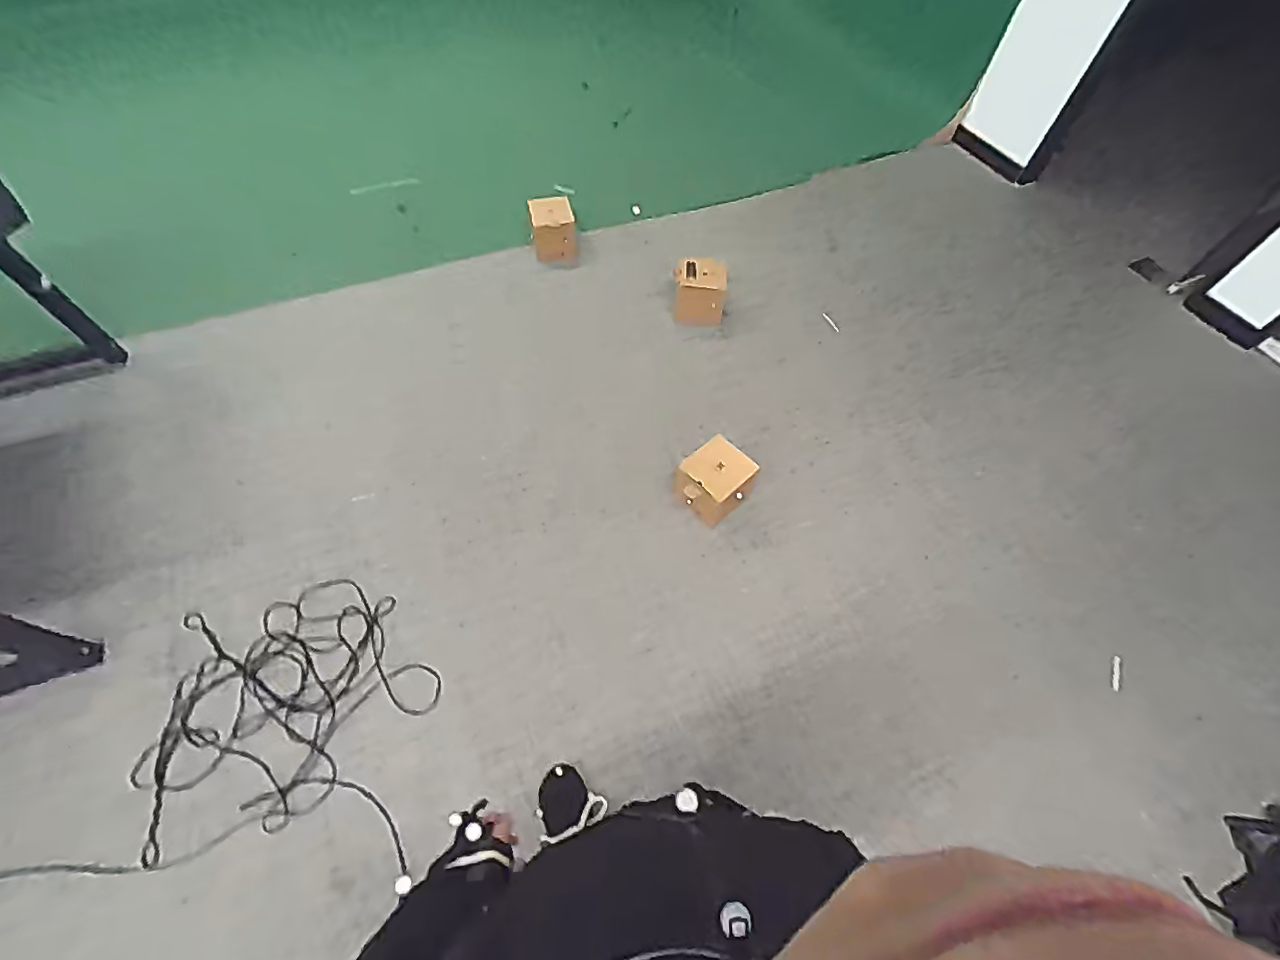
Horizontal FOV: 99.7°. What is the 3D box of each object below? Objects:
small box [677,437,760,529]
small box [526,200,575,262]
[{"bbox_3d":[0.226,0.010,1.610,0.179,0.176,0.168,-39,67,-22],"label":"small box"},{"bbox_3d":[-0.365,-1.019,2.227,0.168,0.176,0.179,-12,59,-11],"label":"small box"}]
